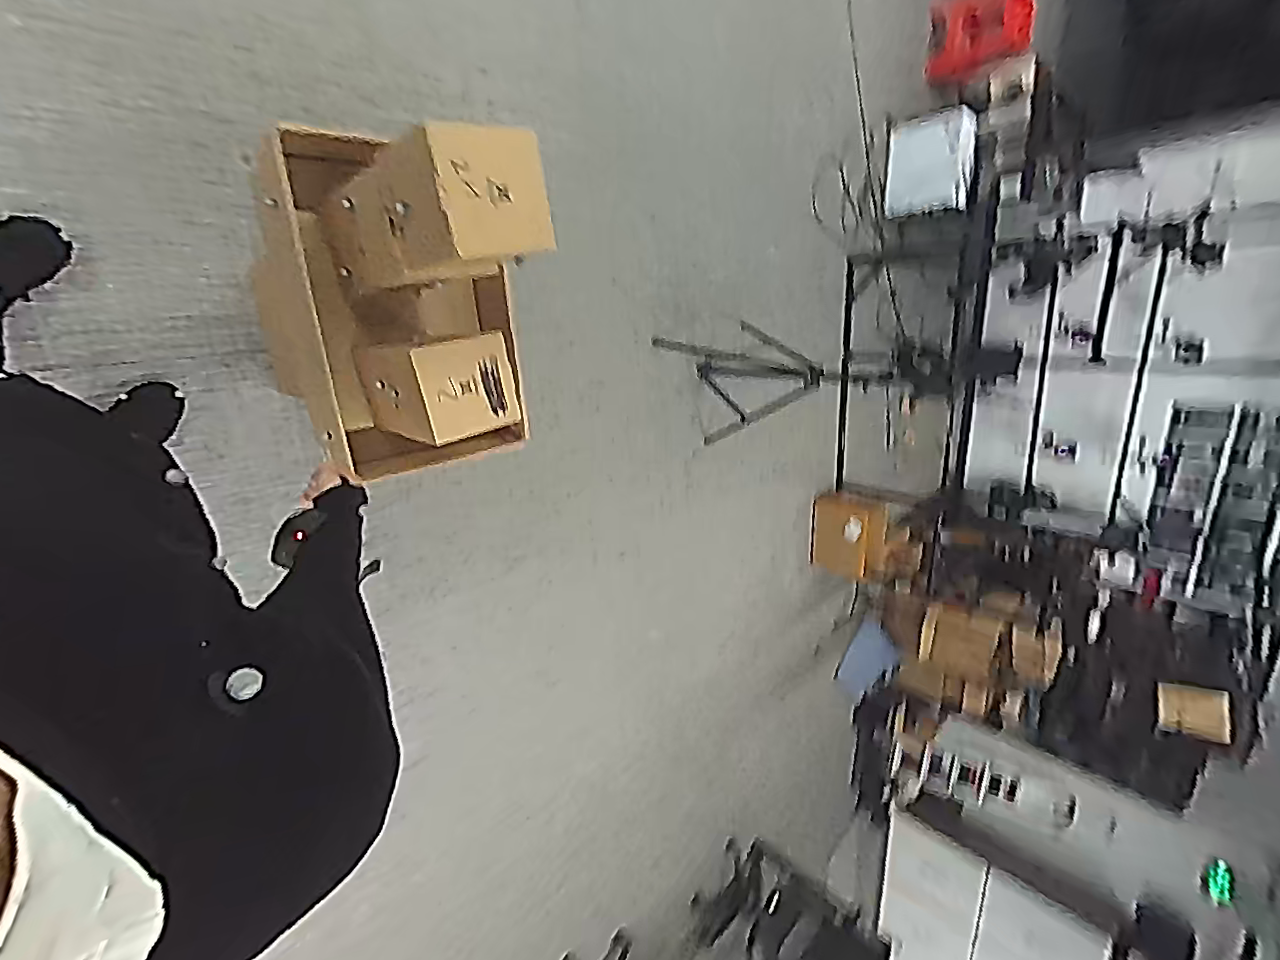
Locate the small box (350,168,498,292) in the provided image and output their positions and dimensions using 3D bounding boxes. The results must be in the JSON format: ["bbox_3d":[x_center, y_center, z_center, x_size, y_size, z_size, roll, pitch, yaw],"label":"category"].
[{"bbox_3d":[-0.378,-0.423,0.936,0.179,0.176,0.168,-24,115,-40],"label":"small box"}]

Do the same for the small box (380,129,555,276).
[{"bbox_3d":[-0.259,-0.410,0.821,0.179,0.176,0.168,-26,116,-40],"label":"small box"}]
